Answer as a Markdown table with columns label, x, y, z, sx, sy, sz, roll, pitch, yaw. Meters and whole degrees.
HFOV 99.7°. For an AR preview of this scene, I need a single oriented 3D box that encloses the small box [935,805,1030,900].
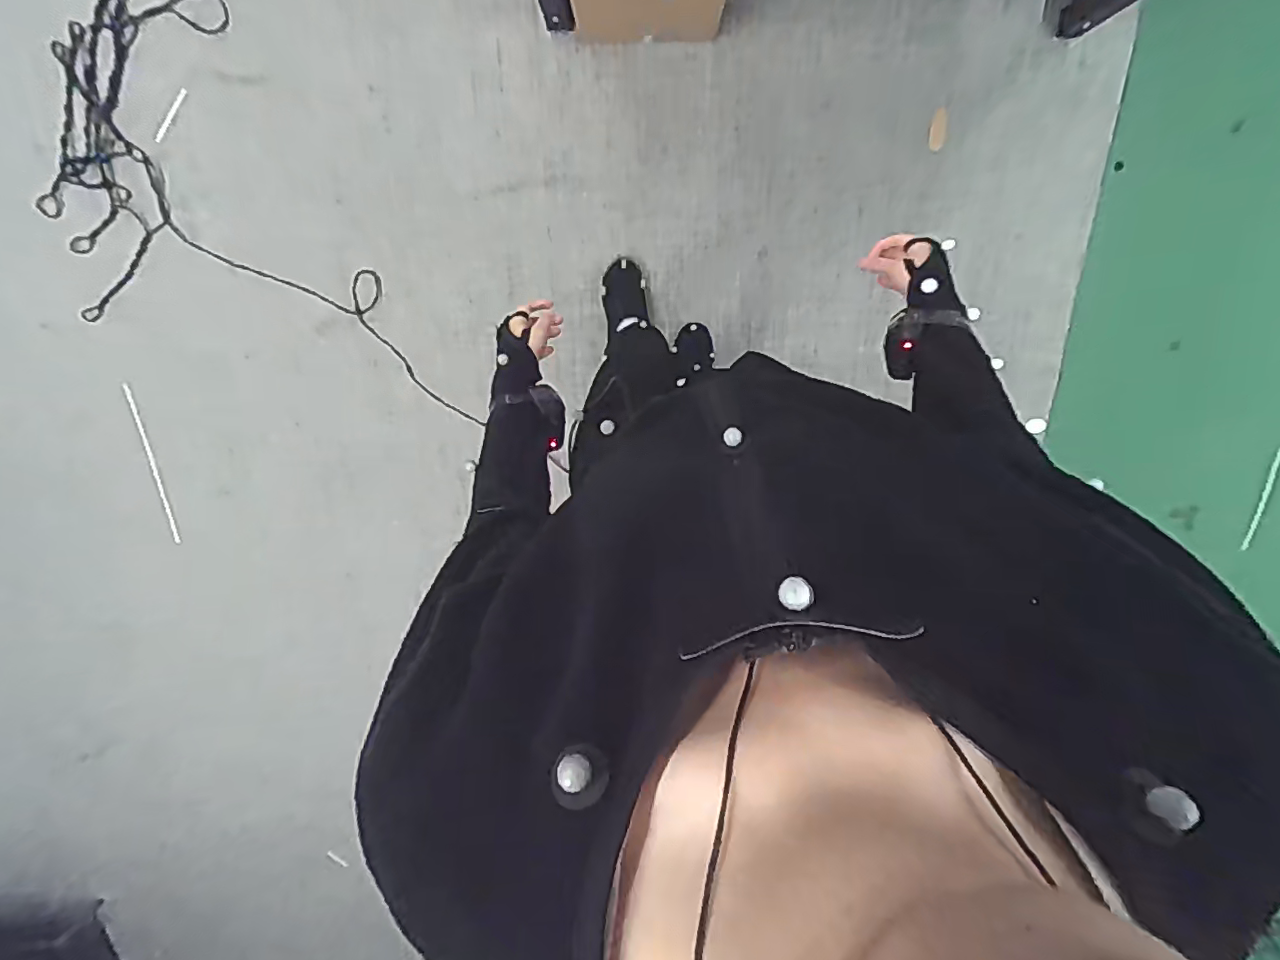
| label | x | y | z | sx | sy | sz | roll | pitch | yaw |
| --- | --- | --- | --- | --- | --- | --- | --- | --- | --- |
| small box | 0.915 | 1.002 | 1.413 | 0.168 | 0.176 | 0.179 | -32 | 103 | 10 |

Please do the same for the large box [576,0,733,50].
| label | x | y | z | sx | sy | sz | roll | pitch | yaw |
| --- | --- | --- | --- | --- | --- | --- | --- | --- | --- |
| large box | 0.023 | -1.118 | 1.021 | 0.320 | 0.320 | 0.408 | -1 | 109 | 2 |
